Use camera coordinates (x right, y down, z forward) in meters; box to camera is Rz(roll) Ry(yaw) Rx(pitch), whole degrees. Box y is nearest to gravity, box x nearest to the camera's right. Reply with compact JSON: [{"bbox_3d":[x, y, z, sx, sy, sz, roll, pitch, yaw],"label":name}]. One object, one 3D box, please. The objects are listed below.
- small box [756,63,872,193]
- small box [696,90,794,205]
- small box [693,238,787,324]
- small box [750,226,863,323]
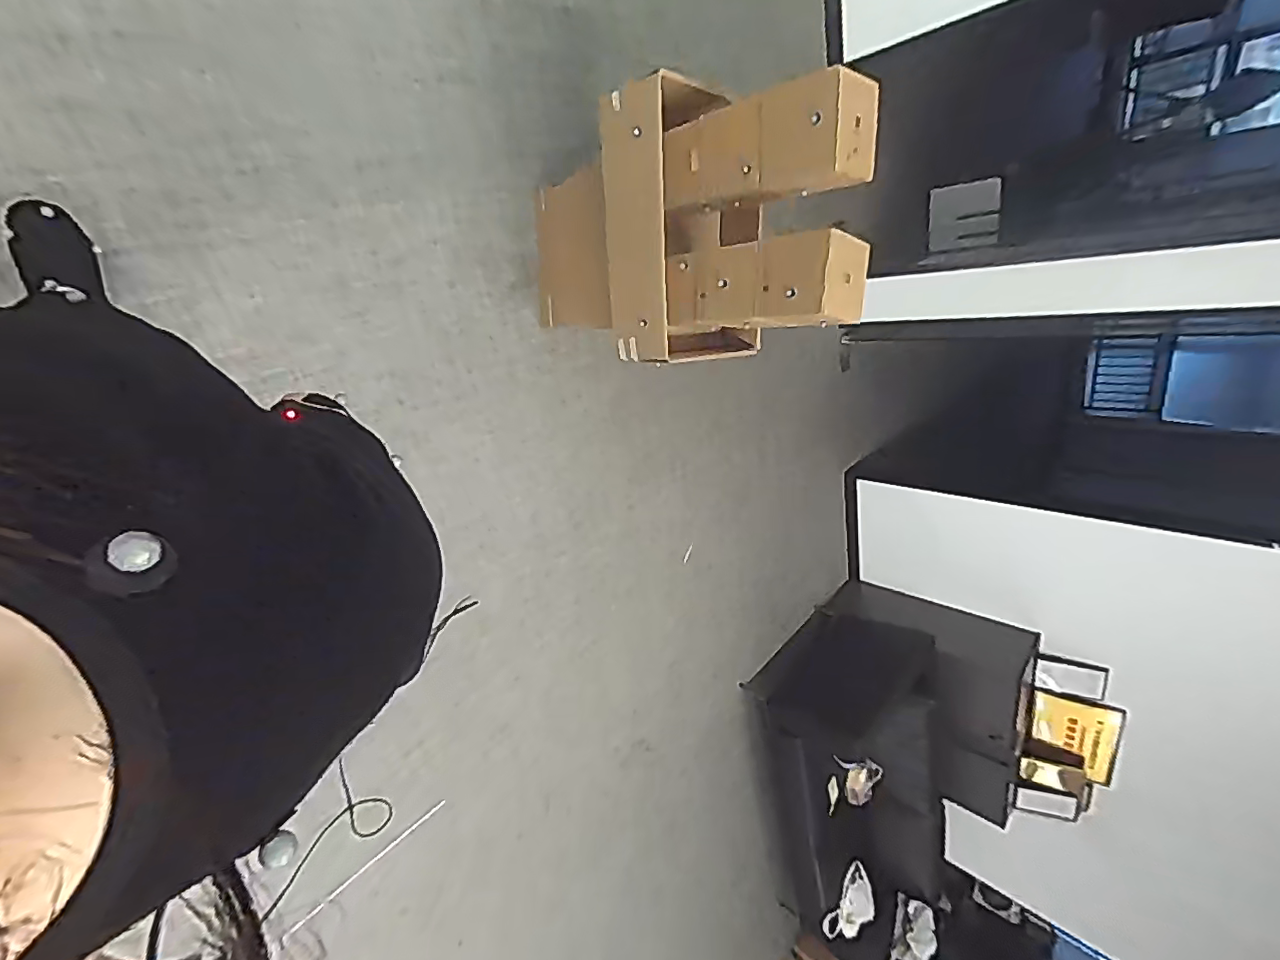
[{"bbox_3d":[0.352,-0.704,1.103,0.168,0.176,0.179,-19,115,-40],"label":"small box"},{"bbox_3d":[0.239,-0.737,1.219,0.168,0.176,0.179,-19,115,-41],"label":"small box"},{"bbox_3d":[0.244,-0.464,1.290,0.179,0.176,0.168,-9,107,-43],"label":"small box"},{"bbox_3d":[0.358,-0.436,1.176,0.179,0.176,0.168,-8,106,-45],"label":"small box"}]
